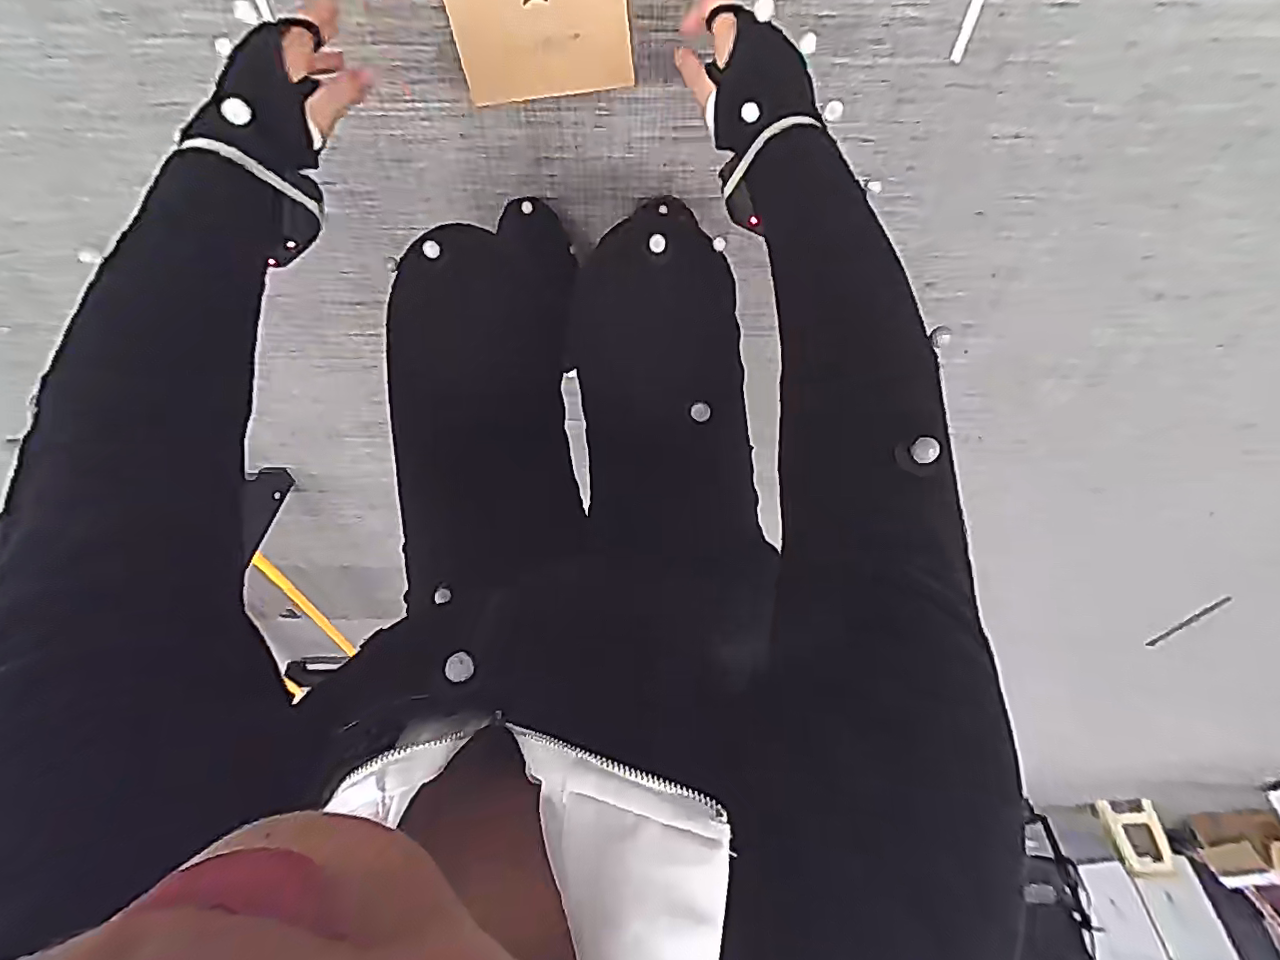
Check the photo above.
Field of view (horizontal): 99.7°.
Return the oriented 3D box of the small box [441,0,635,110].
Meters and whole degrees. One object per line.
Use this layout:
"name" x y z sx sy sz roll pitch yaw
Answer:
"small box" -0.095 -0.493 0.522 0.168 0.176 0.179 -3 141 6
